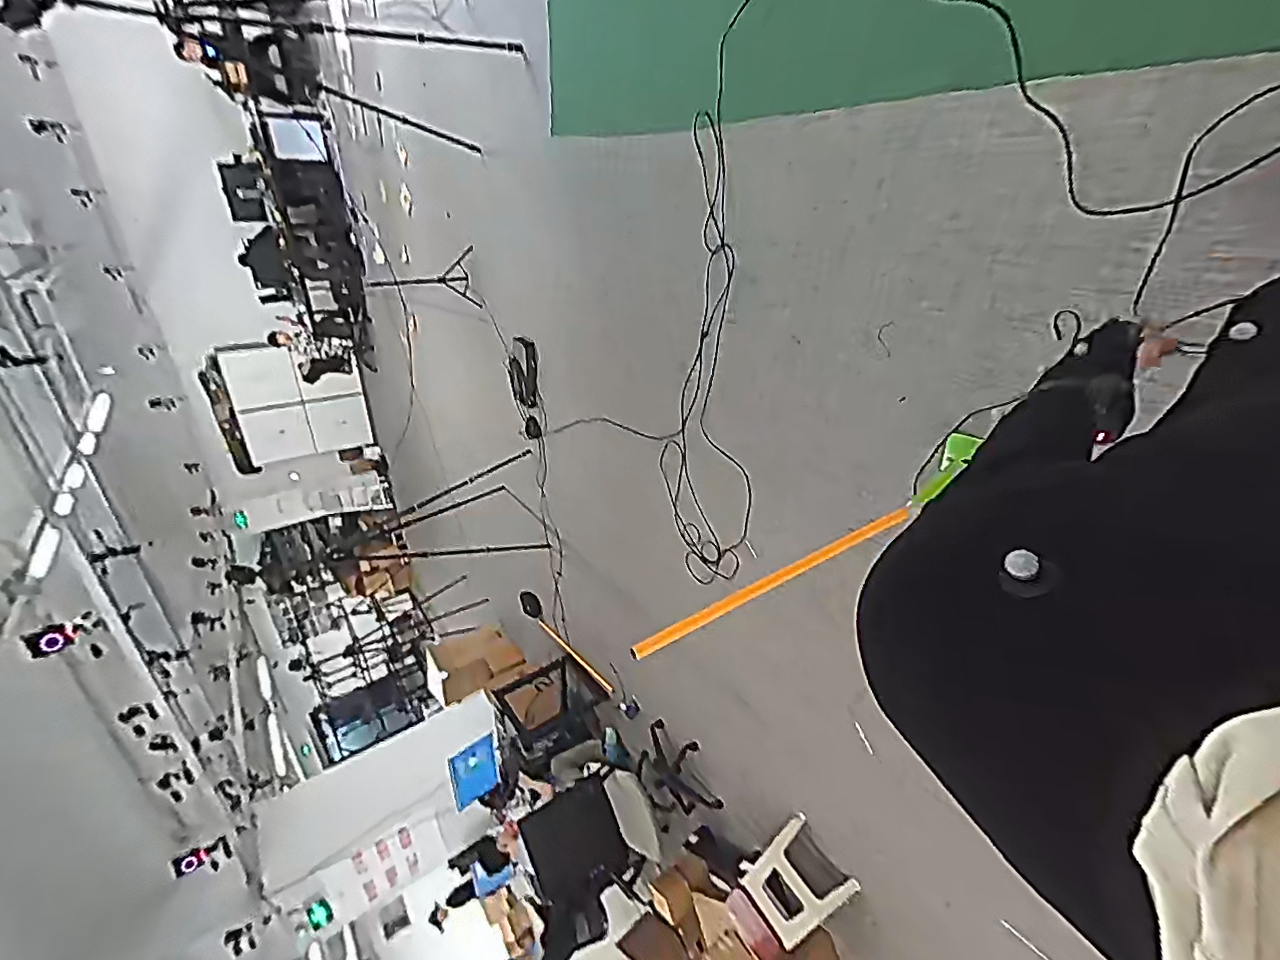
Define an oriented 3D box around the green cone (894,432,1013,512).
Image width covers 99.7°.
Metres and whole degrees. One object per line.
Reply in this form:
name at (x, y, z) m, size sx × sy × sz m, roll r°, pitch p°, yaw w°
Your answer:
green cone at (0.826, 0.017, 1.492) m, size 0.202 × 0.368 × 0.200 m, roll 29°, pitch 128°, yaw 48°
